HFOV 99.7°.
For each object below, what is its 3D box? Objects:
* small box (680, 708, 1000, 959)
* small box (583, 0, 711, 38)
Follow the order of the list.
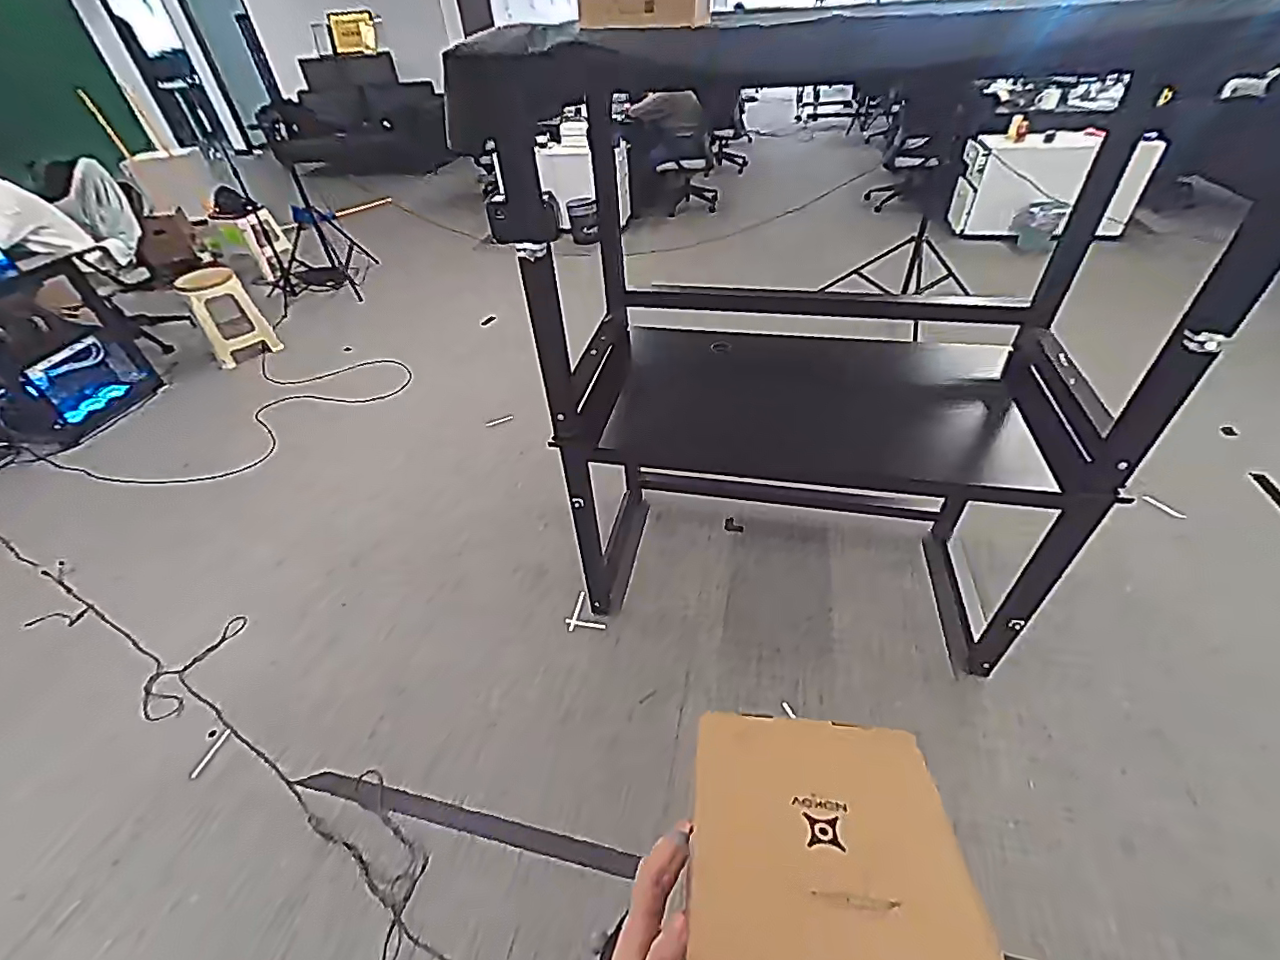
[{"bbox_3d":[0.115,0.296,0.379,0.168,0.176,0.179,3,24,6],"label":"small box"},{"bbox_3d":[0.014,-0.743,0.768,0.168,0.176,0.179,8,41,11],"label":"small box"}]
